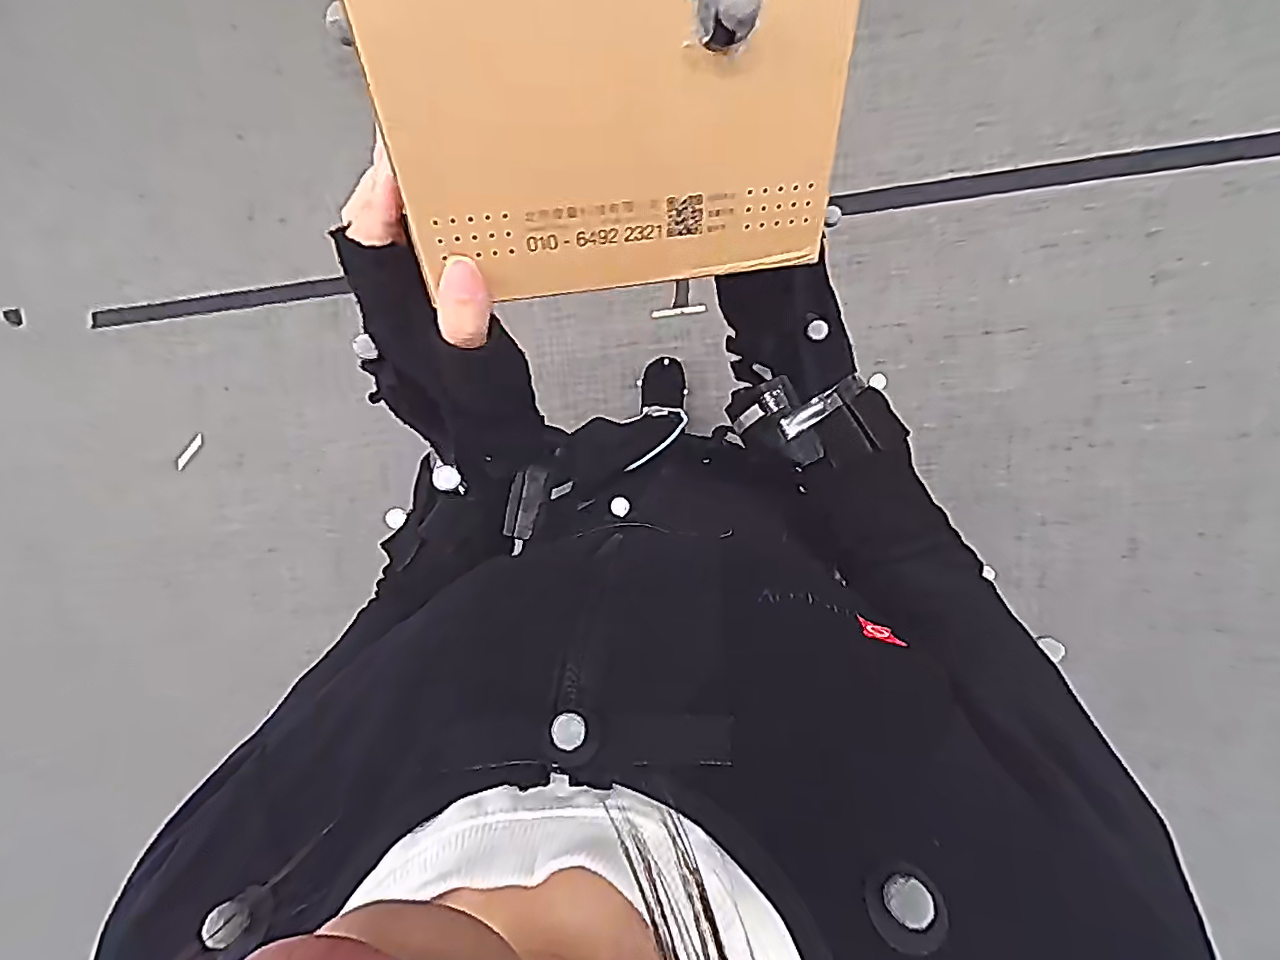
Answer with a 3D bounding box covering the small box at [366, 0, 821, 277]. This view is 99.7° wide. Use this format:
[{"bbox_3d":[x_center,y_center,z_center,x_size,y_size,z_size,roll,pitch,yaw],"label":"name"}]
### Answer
[{"bbox_3d":[-0.022,-0.205,0.258,0.168,0.179,0.176,-8,131,-5],"label":"small box"}]
